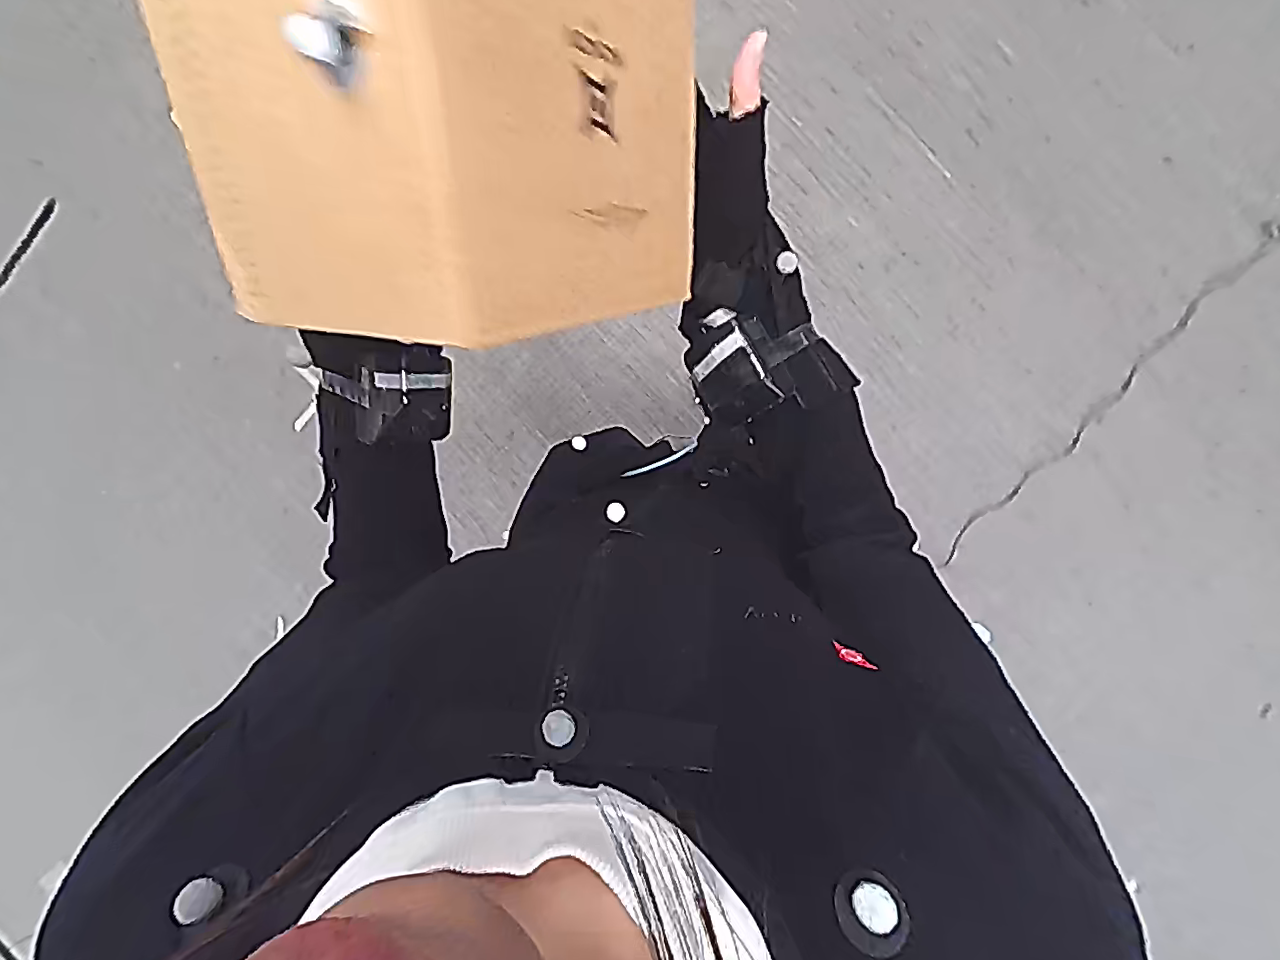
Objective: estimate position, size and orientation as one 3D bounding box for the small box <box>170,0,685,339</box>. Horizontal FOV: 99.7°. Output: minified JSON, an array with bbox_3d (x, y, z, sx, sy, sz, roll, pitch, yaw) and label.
[{"bbox_3d":[-0.087,-0.173,0.271,0.176,0.168,0.179,11,118,27],"label":"small box"}]
